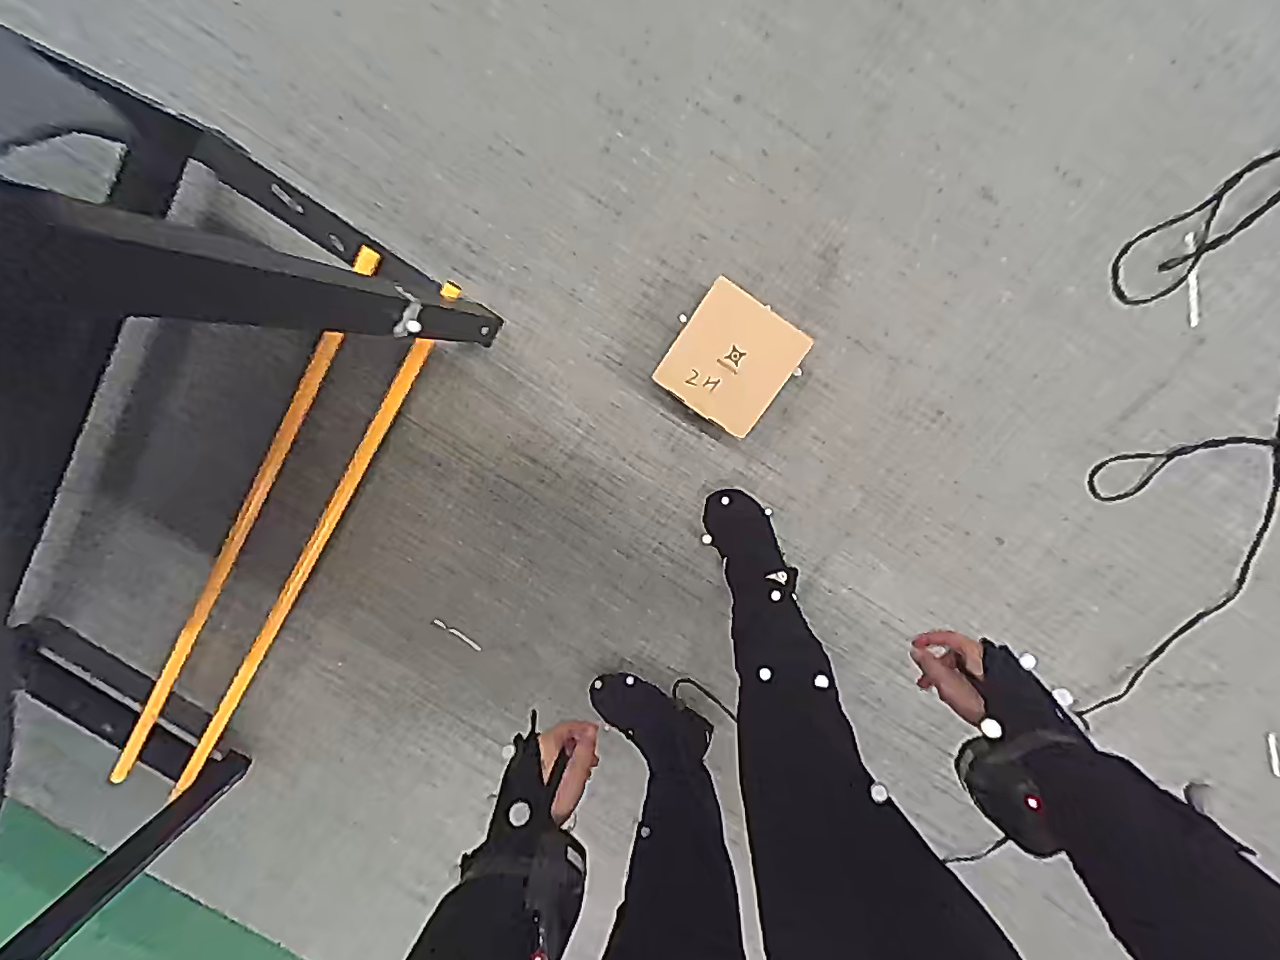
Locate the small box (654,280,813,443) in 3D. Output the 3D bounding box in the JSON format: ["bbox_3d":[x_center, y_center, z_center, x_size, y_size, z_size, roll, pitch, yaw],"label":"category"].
[{"bbox_3d":[0.137,-0.184,0.854,0.168,0.176,0.179,34,102,-2],"label":"small box"}]
